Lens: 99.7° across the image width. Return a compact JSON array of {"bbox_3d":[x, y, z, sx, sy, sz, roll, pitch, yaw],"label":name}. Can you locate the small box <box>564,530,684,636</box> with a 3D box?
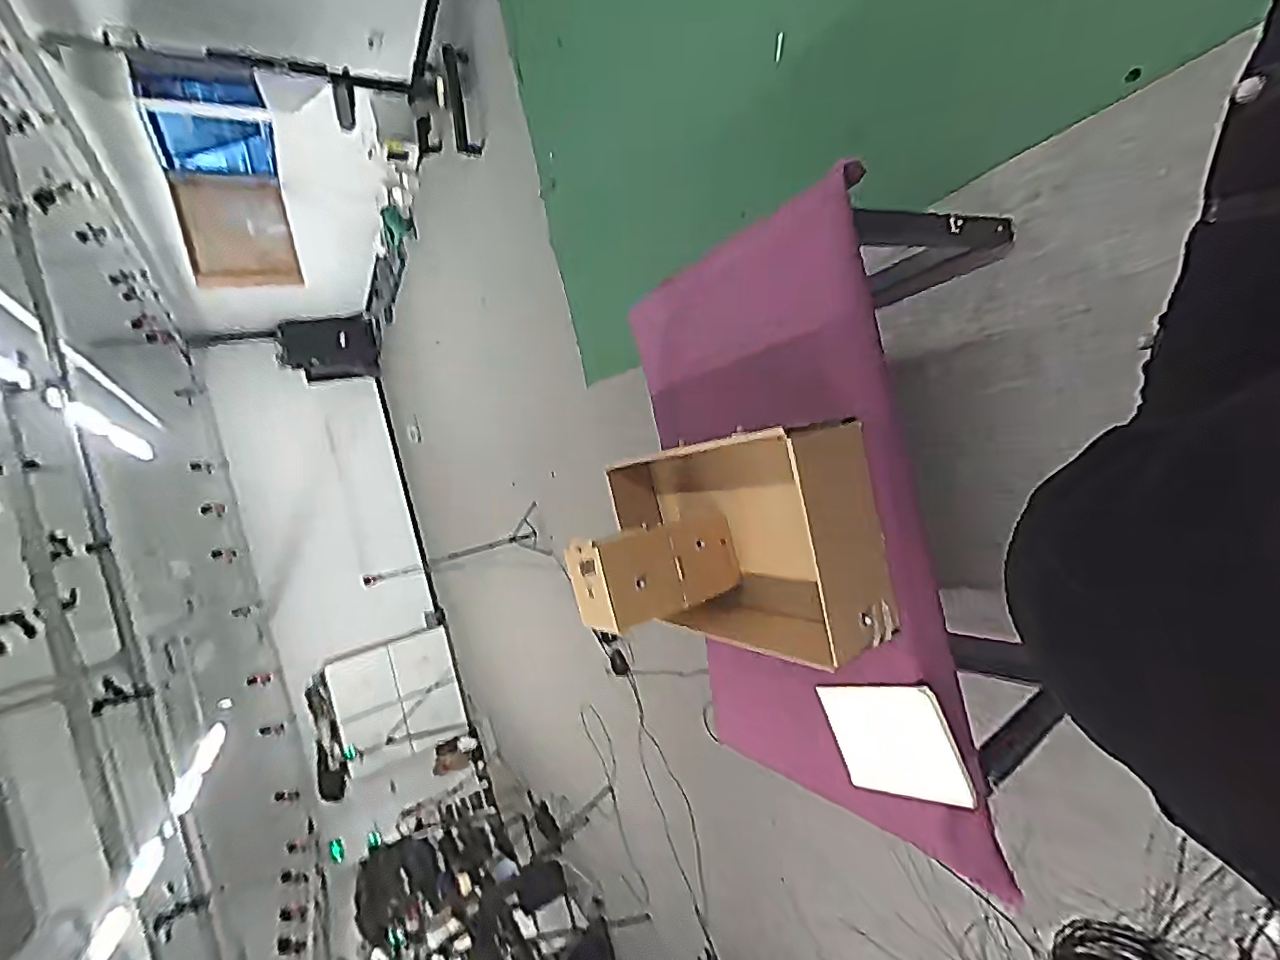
[{"bbox_3d":[-0.033,0.206,1.136,0.168,0.176,0.179,-14,91,57],"label":"small box"}]
